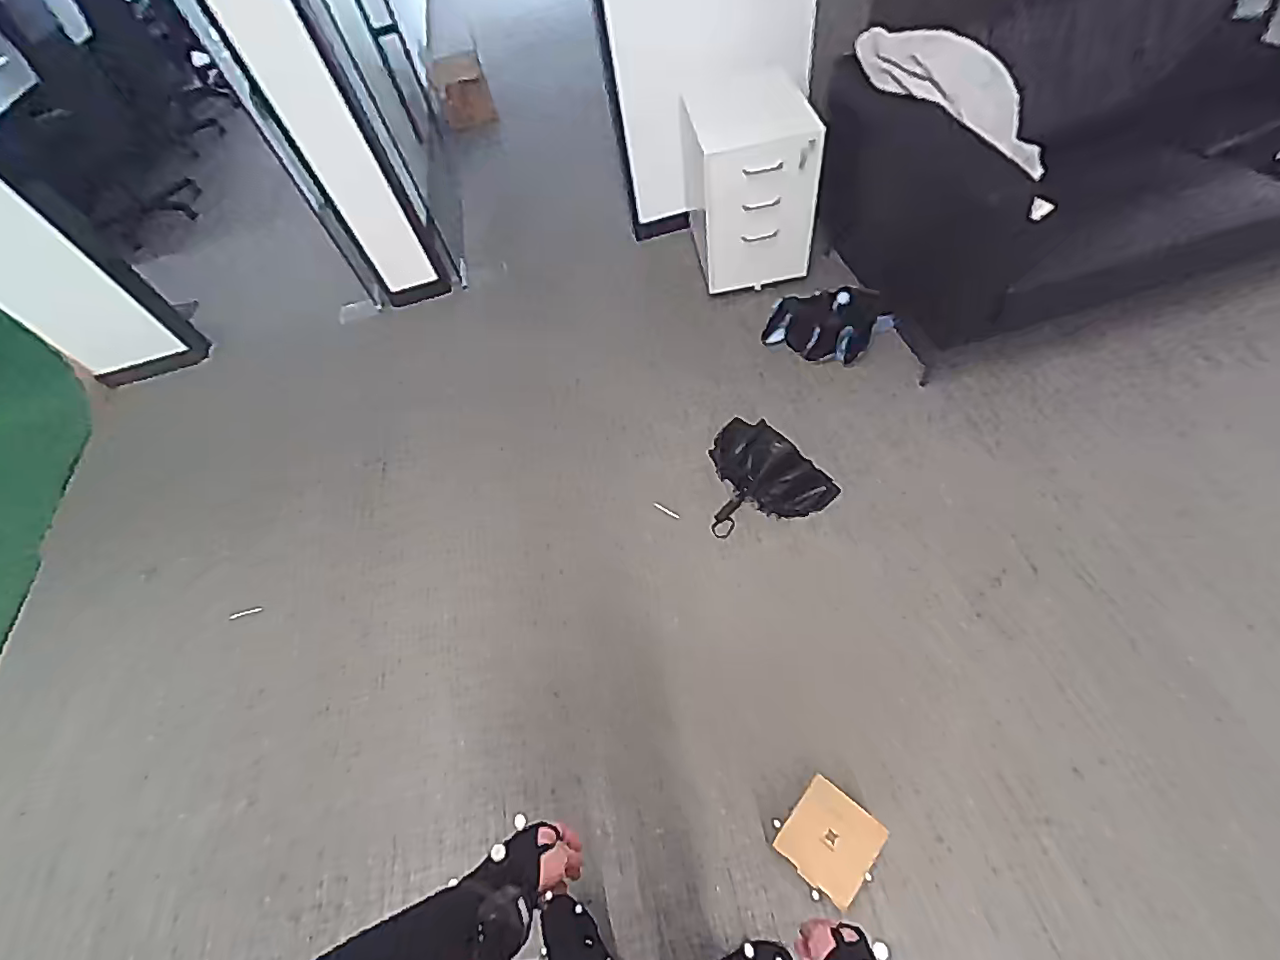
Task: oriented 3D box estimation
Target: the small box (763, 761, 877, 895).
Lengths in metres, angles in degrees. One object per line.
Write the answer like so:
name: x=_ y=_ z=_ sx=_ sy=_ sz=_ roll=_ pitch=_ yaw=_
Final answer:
small box: x=0.382 y=0.752 z=1.177 sx=0.168 sy=0.176 sz=0.179 roll=33 pitch=67 yaw=25
